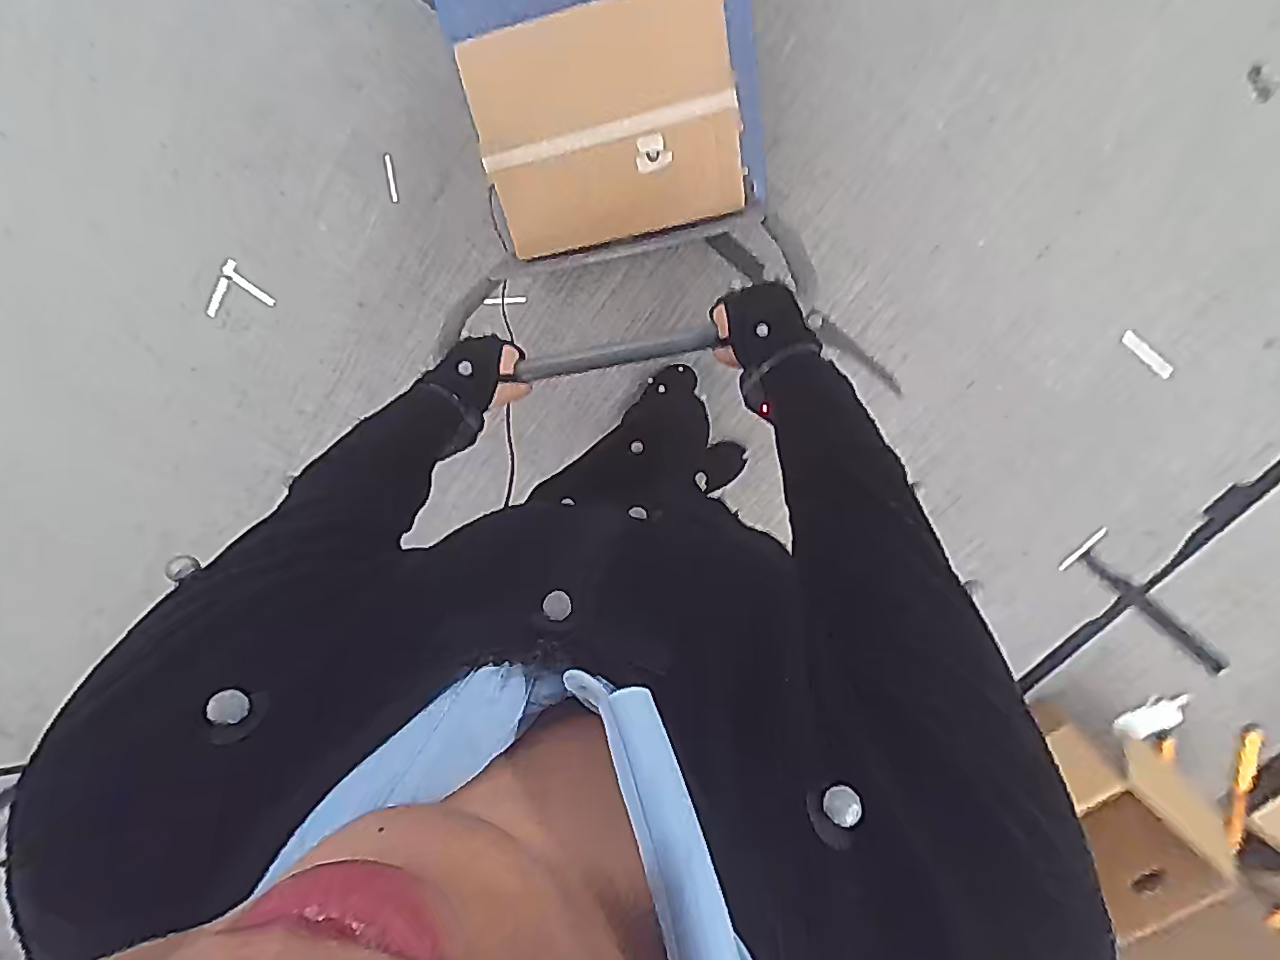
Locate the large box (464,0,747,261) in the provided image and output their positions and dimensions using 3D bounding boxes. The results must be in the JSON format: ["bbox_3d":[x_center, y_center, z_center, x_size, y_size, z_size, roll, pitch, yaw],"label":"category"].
[{"bbox_3d":[-0.041,-0.631,0.998,0.408,0.320,0.320,-10,120,9],"label":"large box"}]
